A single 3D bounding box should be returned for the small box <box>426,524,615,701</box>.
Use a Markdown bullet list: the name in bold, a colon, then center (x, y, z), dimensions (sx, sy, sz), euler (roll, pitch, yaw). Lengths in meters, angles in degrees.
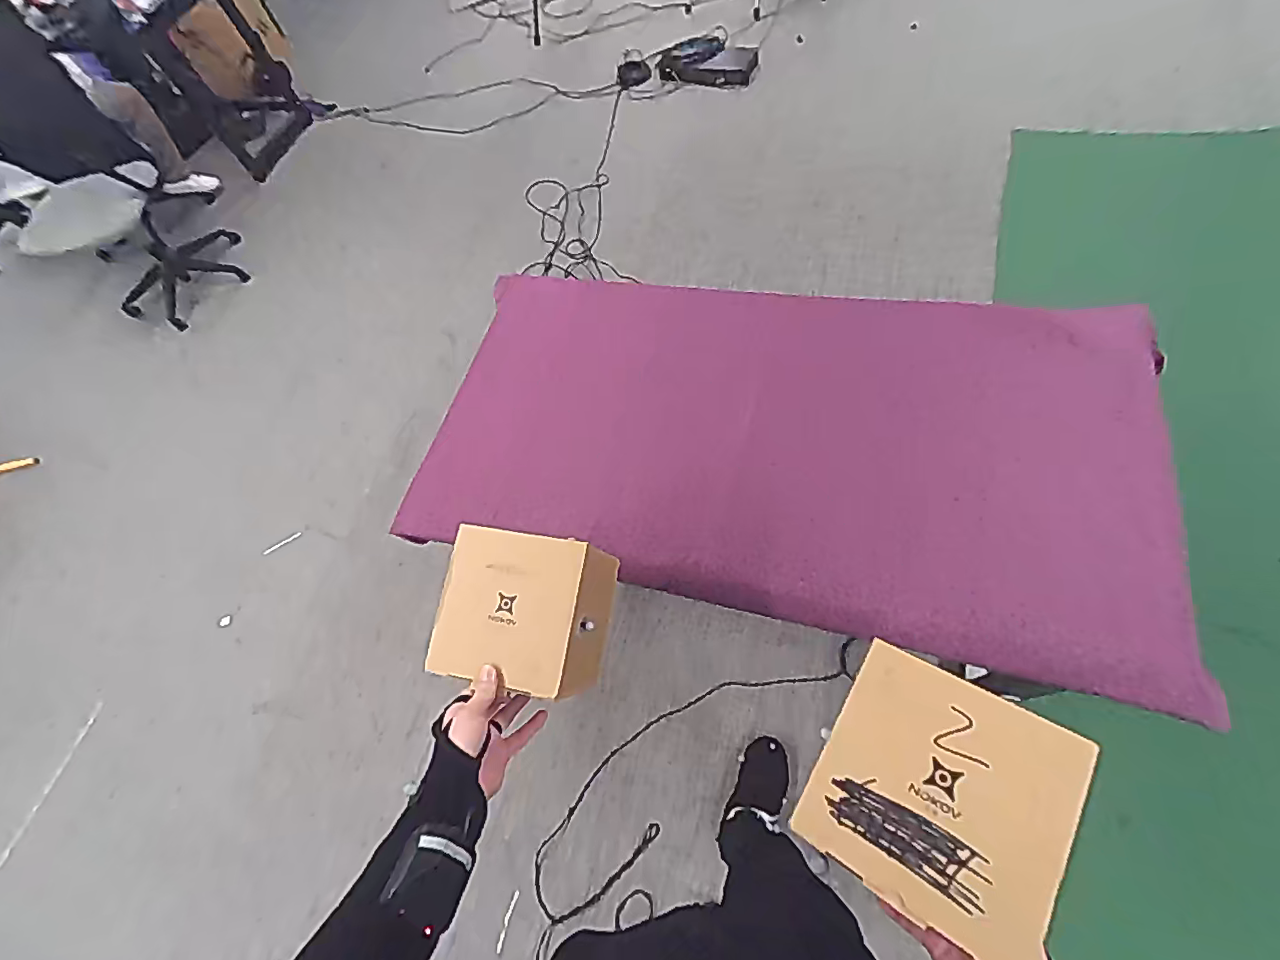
- **small box**: center (-0.139, 0.167, 0.698), dimensions (0.168, 0.176, 0.179), euler (8, 76, 13)
